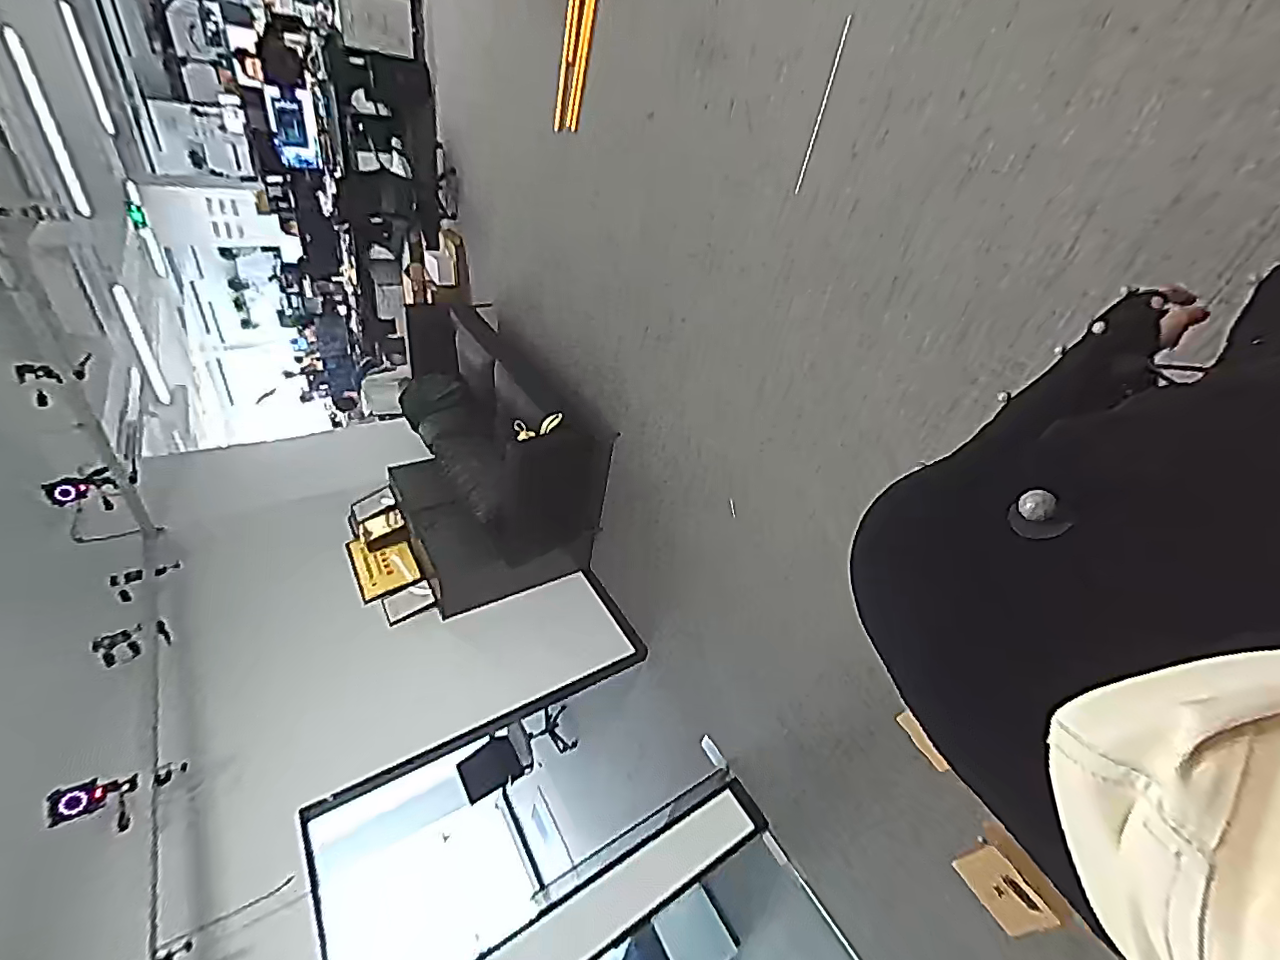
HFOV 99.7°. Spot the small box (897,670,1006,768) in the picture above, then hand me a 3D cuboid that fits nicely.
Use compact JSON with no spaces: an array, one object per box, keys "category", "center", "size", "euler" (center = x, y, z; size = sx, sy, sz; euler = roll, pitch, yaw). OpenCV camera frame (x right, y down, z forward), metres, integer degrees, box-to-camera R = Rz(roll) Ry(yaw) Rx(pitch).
[{"category":"small box","center":[0.877,0.670,1.521],"size":[0.168,0.176,0.179],"euler":[54,144,32]}]

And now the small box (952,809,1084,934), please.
[{"category":"small box","center":[0.895,0.916,1.276],"size":[0.168,0.176,0.179],"euler":[53,145,34]}]

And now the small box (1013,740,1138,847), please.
[{"category":"small box","center":[1.165,0.835,1.445],"size":[0.168,0.176,0.179],"euler":[52,144,34]}]
